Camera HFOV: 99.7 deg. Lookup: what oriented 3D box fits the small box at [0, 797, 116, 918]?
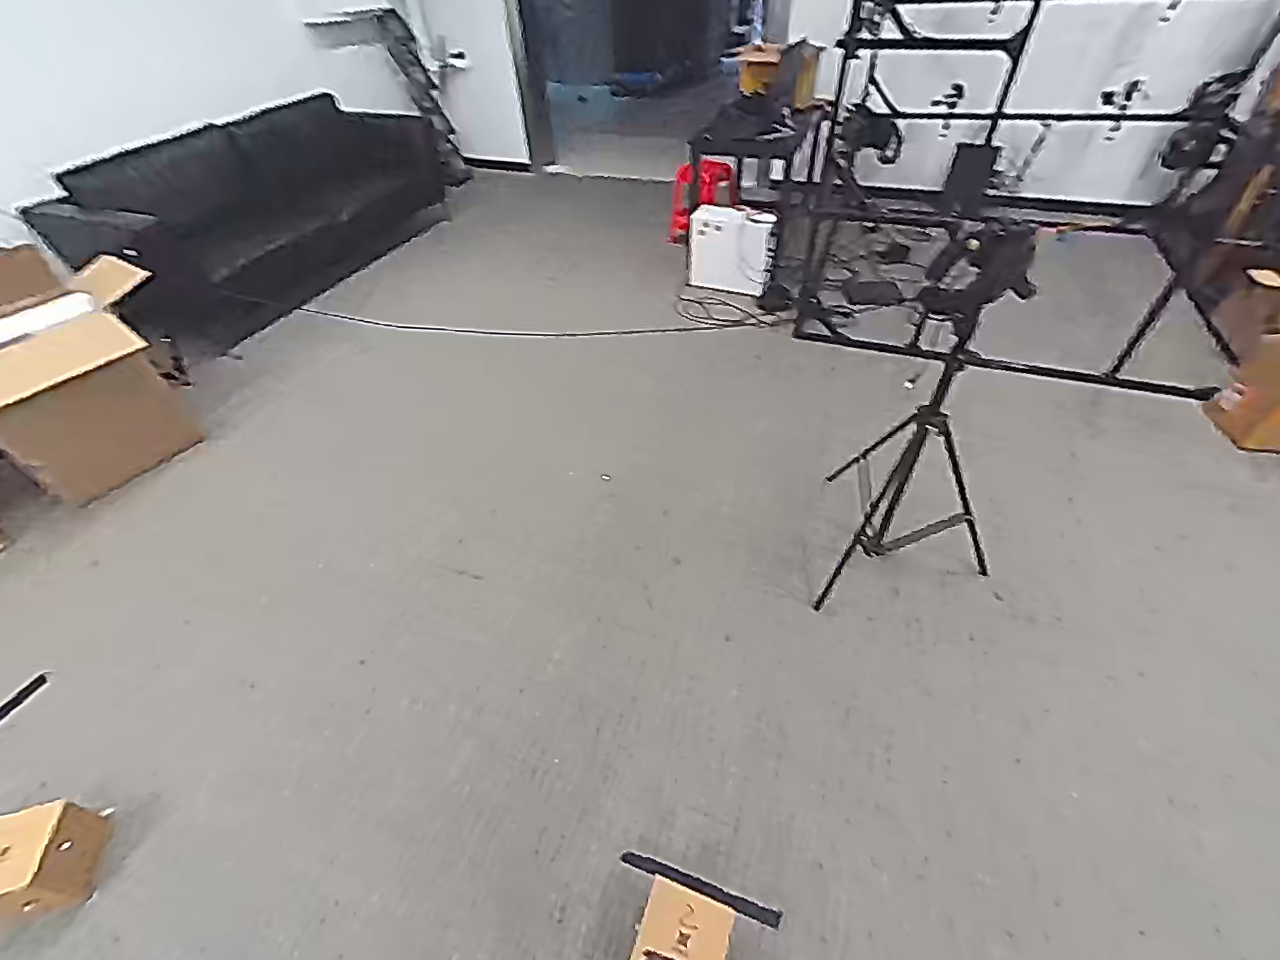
[{"bbox_3d":[-1.360,0.862,1.228,0.168,0.176,0.179,-12,44,-11],"label":"small box"}]
